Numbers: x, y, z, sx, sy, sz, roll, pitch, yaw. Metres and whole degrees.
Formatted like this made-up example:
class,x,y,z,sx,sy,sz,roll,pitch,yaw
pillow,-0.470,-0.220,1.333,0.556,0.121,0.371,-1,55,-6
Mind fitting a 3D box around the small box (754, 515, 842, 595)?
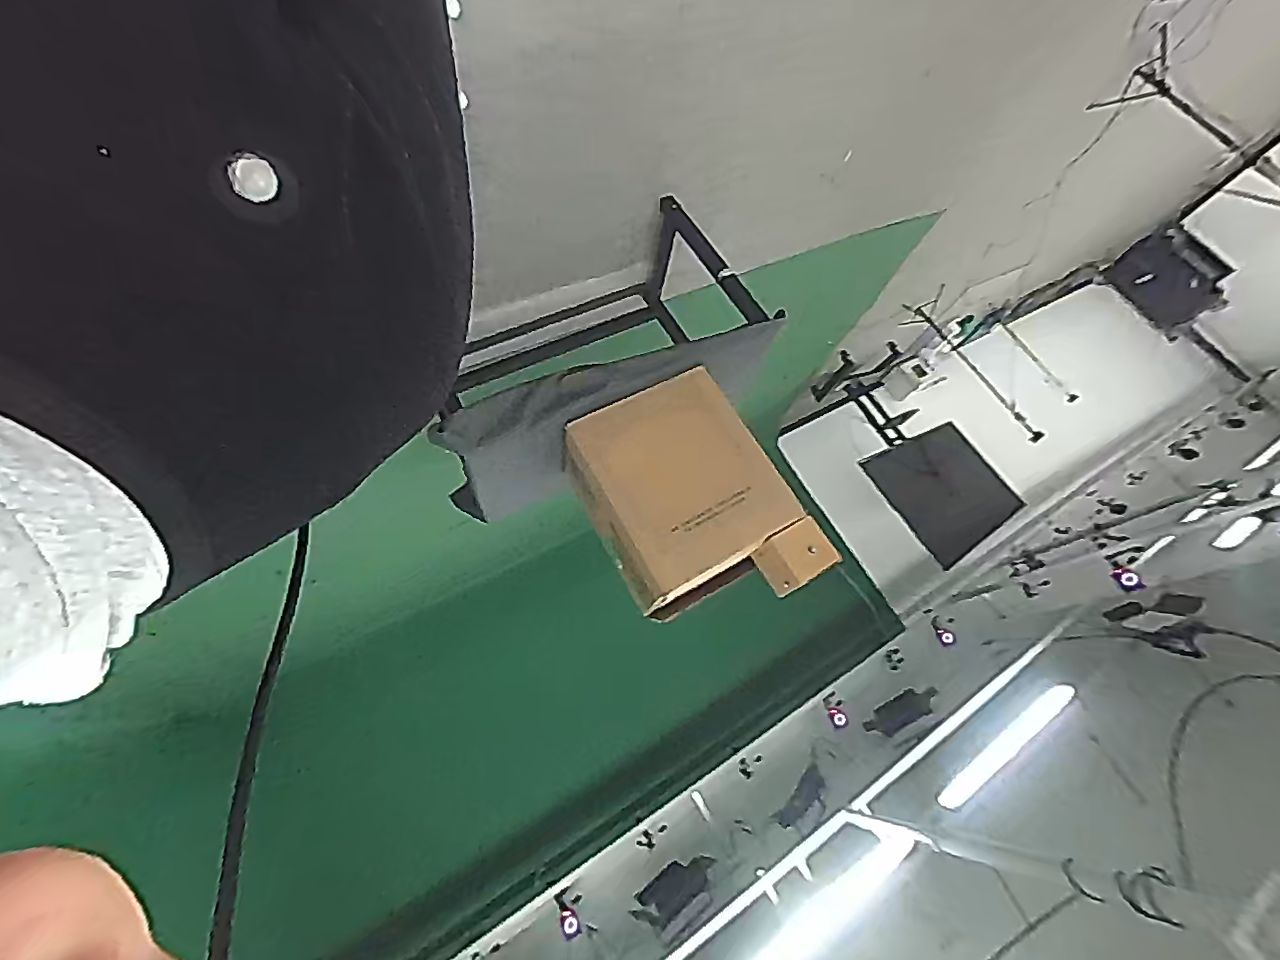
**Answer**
class,x,y,z,sx,sy,sz,roll,pitch,yaw
small box,0.501,0.238,1.734,0.179,0.176,0.168,-27,162,-22
